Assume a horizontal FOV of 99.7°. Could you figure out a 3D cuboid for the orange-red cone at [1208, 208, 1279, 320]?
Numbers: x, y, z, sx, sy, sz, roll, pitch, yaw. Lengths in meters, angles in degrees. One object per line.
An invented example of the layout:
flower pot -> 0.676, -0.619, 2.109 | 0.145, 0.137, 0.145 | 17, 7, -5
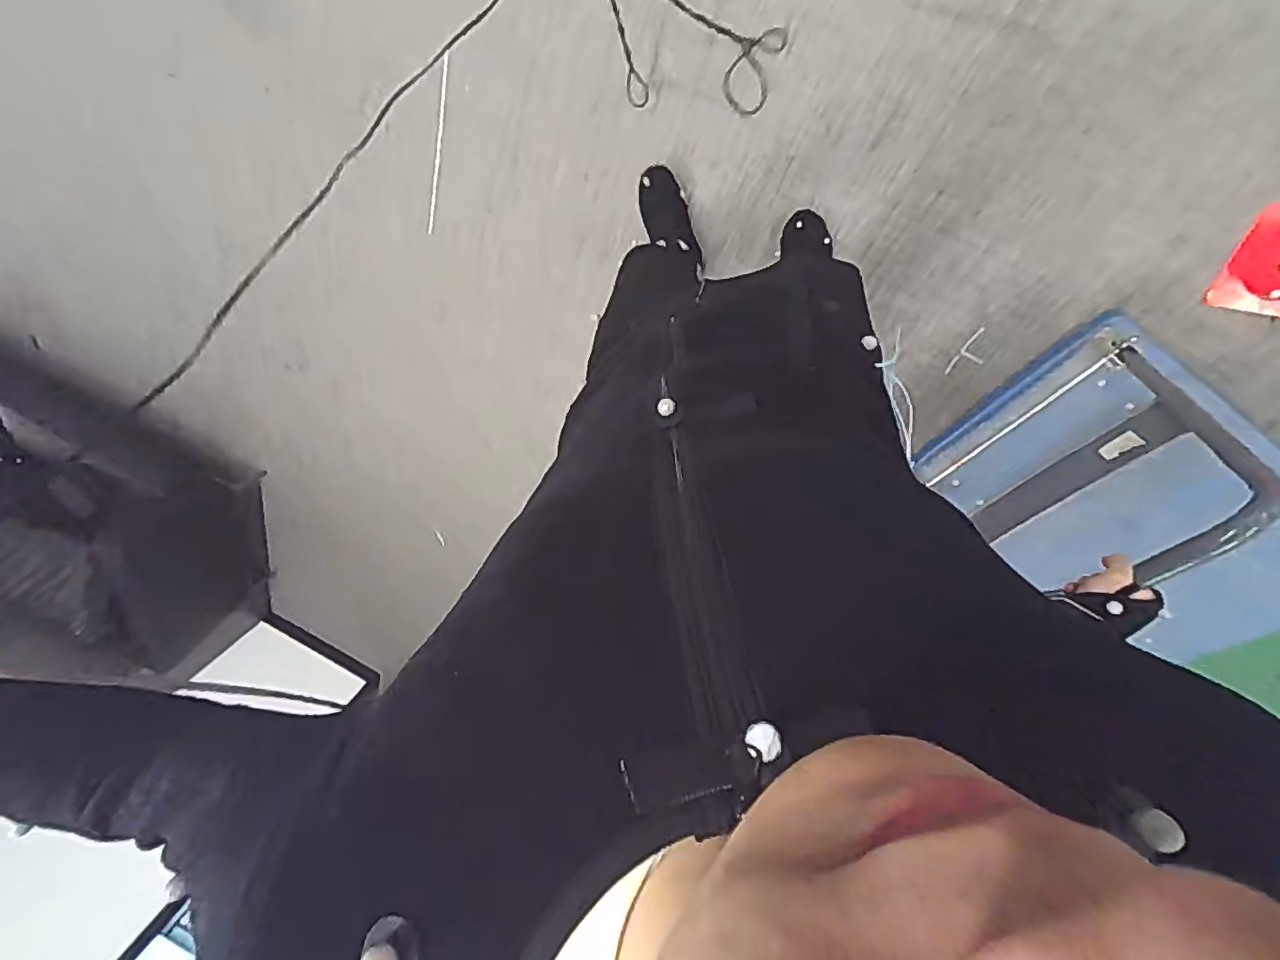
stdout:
orange-red cone -> 1.234, -0.338, 0.930 | 0.198, 0.360, 0.199 | 16, 124, 11
